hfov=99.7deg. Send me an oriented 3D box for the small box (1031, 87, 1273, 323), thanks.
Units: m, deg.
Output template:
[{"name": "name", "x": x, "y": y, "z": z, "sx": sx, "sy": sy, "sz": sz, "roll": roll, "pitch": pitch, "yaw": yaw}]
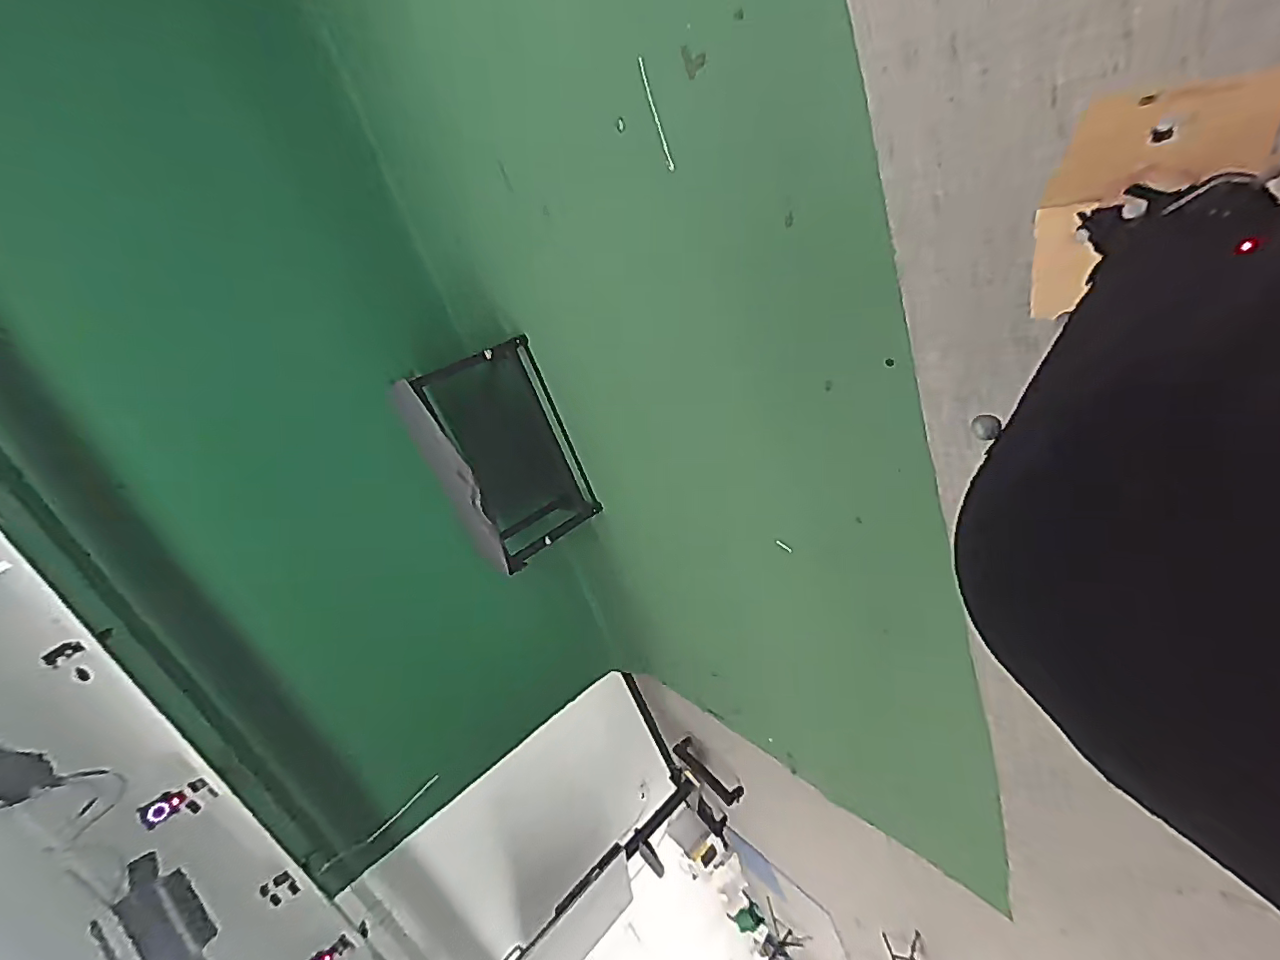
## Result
[{"name": "small box", "x": 0.565, "y": -0.302, "z": 0.611, "sx": 0.168, "sy": 0.176, "sz": 0.179, "roll": 15, "pitch": 159, "yaw": 39}]
